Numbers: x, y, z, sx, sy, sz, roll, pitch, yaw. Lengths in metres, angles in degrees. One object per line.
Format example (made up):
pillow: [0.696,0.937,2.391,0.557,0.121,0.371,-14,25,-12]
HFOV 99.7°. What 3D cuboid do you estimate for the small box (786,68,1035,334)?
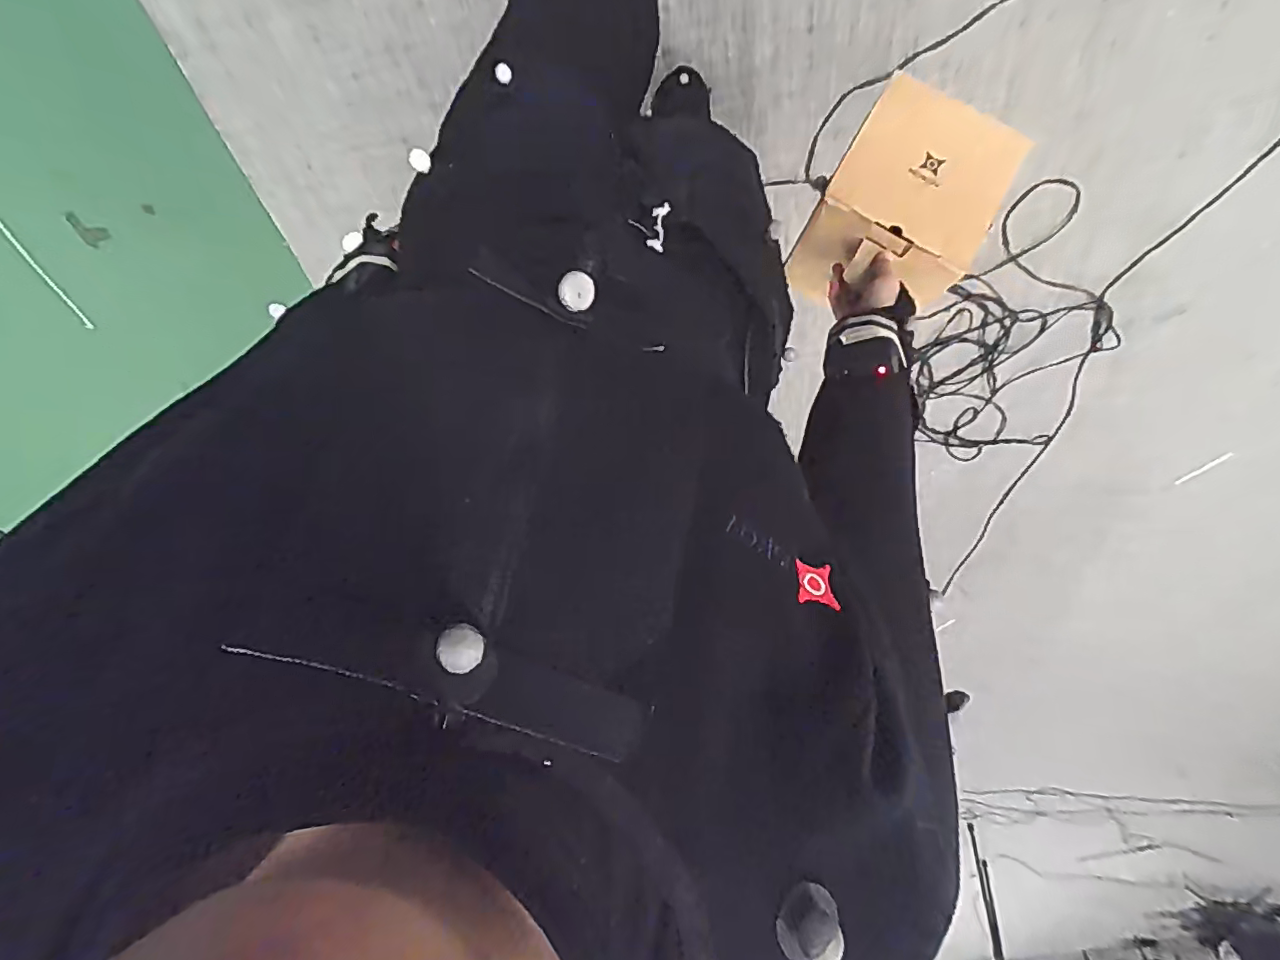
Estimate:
small box: [0.293,-0.305,0.625,0.168,0.179,0.176,30,172,2]
